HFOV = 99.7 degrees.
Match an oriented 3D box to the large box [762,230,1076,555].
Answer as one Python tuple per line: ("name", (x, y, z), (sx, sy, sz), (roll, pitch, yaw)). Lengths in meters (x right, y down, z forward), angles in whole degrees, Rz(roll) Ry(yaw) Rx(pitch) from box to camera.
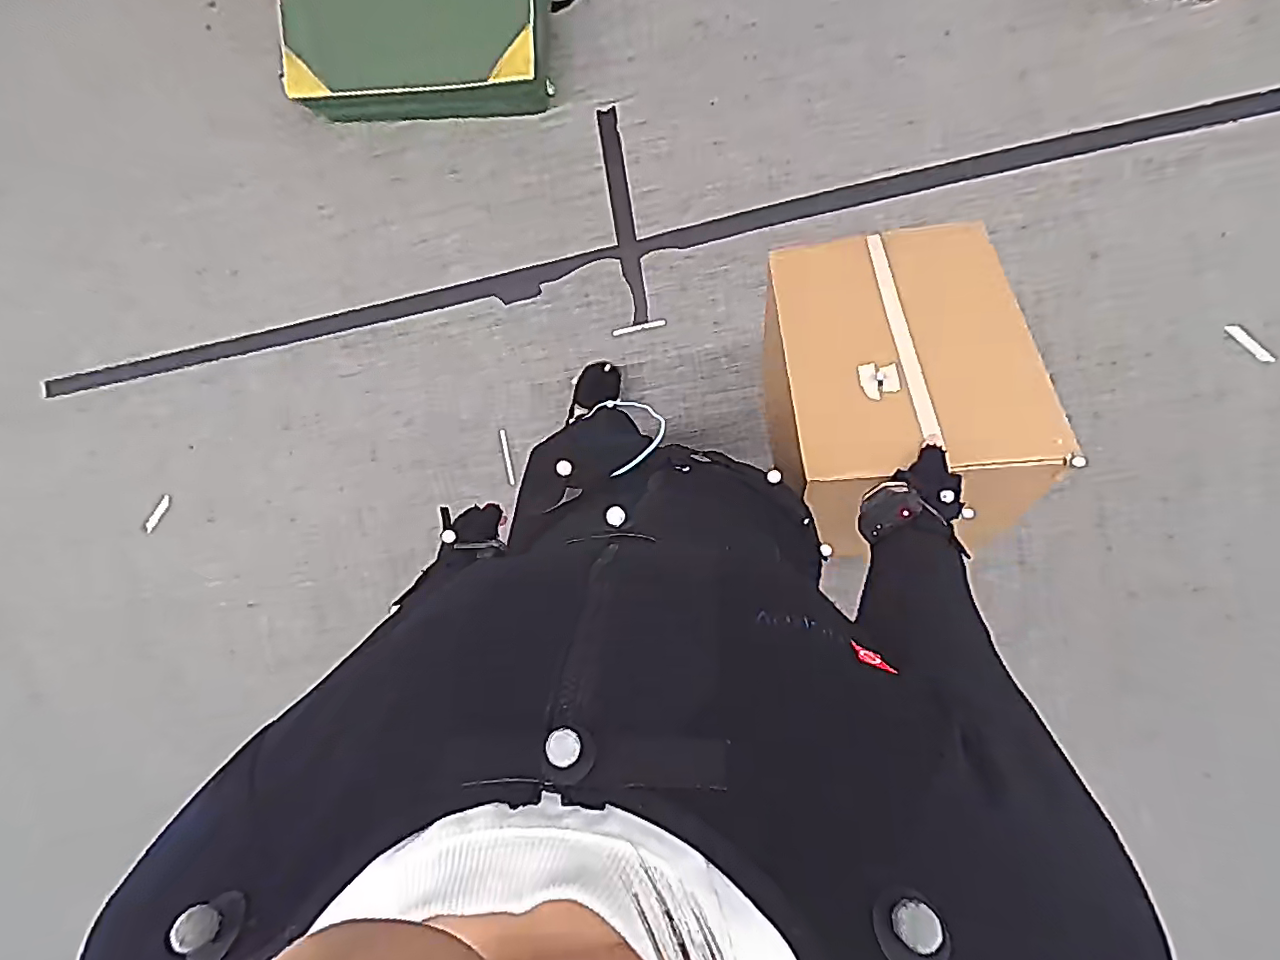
("large box", (0.384, -0.122, 0.876), (0.320, 0.320, 0.408), (-6, 64, 9))
